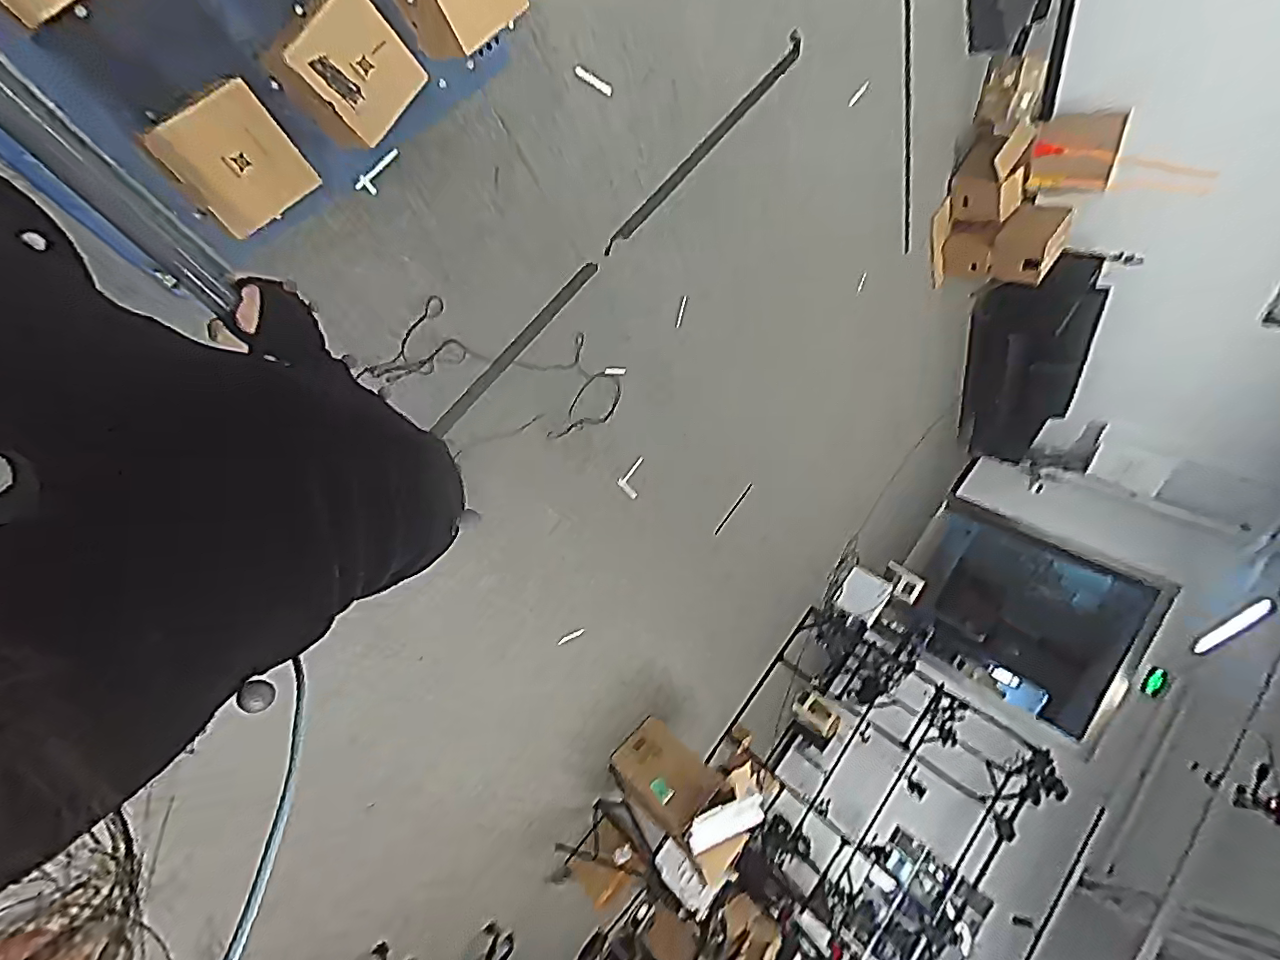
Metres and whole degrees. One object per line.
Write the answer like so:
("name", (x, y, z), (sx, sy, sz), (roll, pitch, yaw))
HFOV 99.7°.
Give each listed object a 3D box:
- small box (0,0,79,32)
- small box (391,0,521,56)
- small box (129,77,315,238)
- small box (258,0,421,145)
("small box", (-0.796, -0.697, 0.671), (0.179, 0.176, 0.168), (-50, 143, -12))
("small box", (-0.366, -0.934, 1.013), (0.179, 0.176, 0.168), (-50, 142, -13))
("small box", (-0.696, -0.534, 0.900), (0.179, 0.176, 0.168), (-48, 142, -16))
("small box", (-0.535, -0.728, 0.955), (0.179, 0.176, 0.168), (-56, 143, -6))
